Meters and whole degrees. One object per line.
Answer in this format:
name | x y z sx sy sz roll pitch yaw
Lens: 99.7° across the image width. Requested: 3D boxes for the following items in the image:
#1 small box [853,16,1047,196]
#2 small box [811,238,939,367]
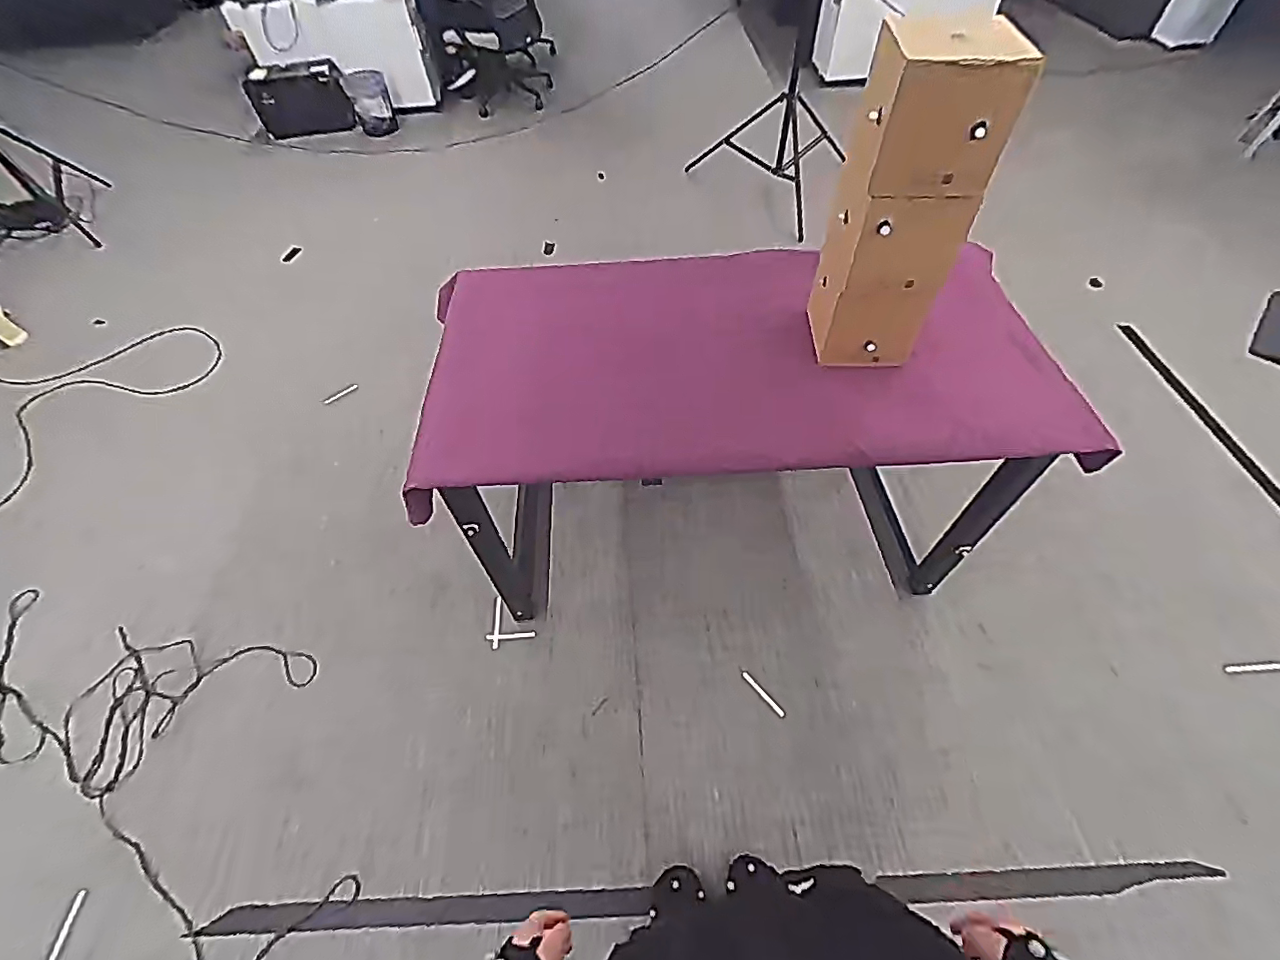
small box | 0.417 -0.524 0.765 0.168 0.176 0.179 3 53 4
small box | 0.435 -0.338 1.033 0.168 0.176 0.179 1 54 4
